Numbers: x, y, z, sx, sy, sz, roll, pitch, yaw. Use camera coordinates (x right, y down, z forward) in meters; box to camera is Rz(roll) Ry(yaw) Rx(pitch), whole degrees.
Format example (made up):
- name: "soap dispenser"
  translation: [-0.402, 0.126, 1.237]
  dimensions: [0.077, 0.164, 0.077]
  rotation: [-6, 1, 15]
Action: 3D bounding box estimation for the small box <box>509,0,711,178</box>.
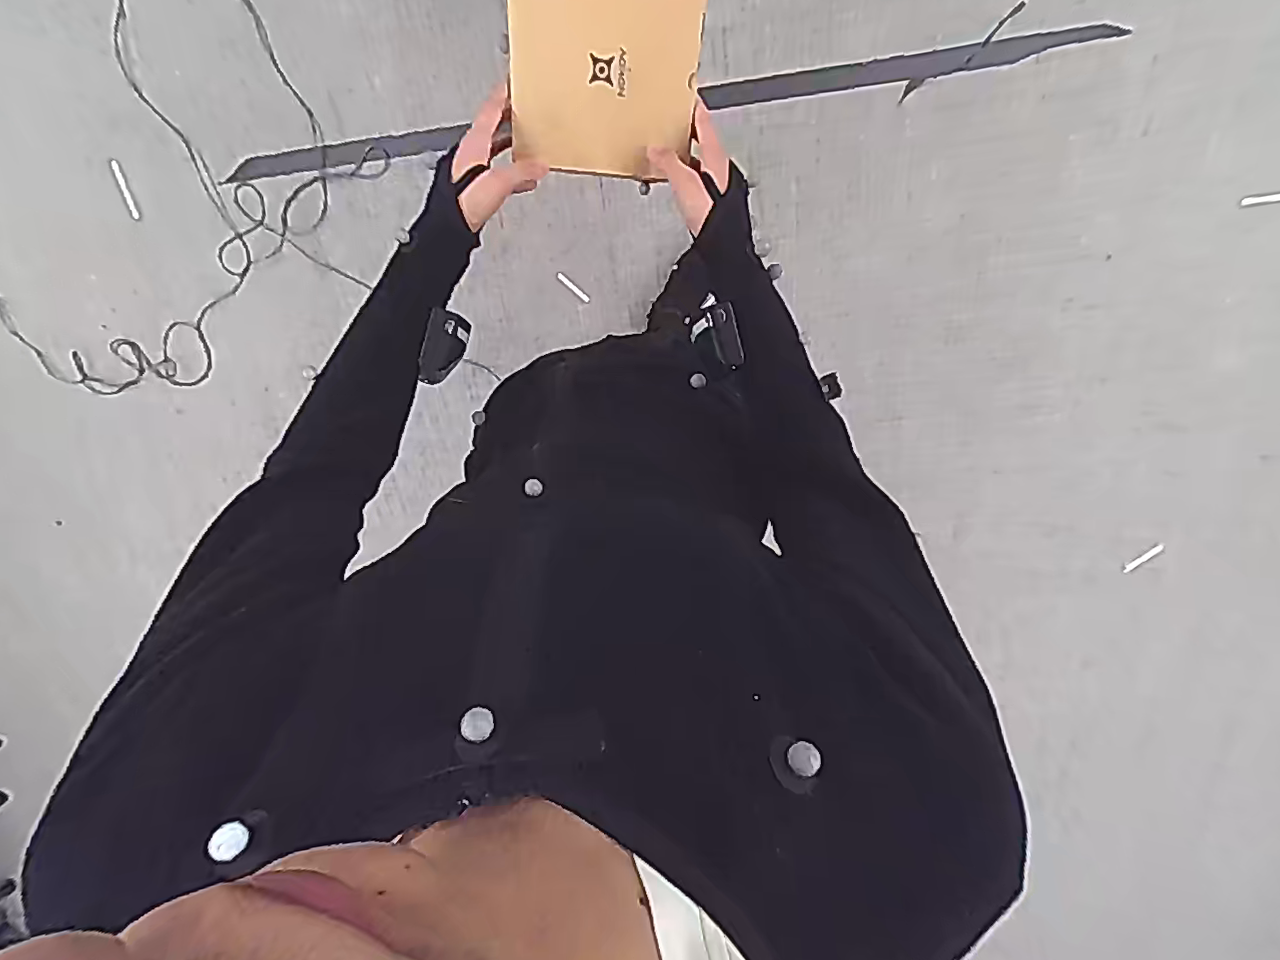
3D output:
- name: "small box"
  translation: [-0.039, -0.412, 0.555]
  dimensions: [0.179, 0.176, 0.168]
  rotation: [0, 119, -10]
